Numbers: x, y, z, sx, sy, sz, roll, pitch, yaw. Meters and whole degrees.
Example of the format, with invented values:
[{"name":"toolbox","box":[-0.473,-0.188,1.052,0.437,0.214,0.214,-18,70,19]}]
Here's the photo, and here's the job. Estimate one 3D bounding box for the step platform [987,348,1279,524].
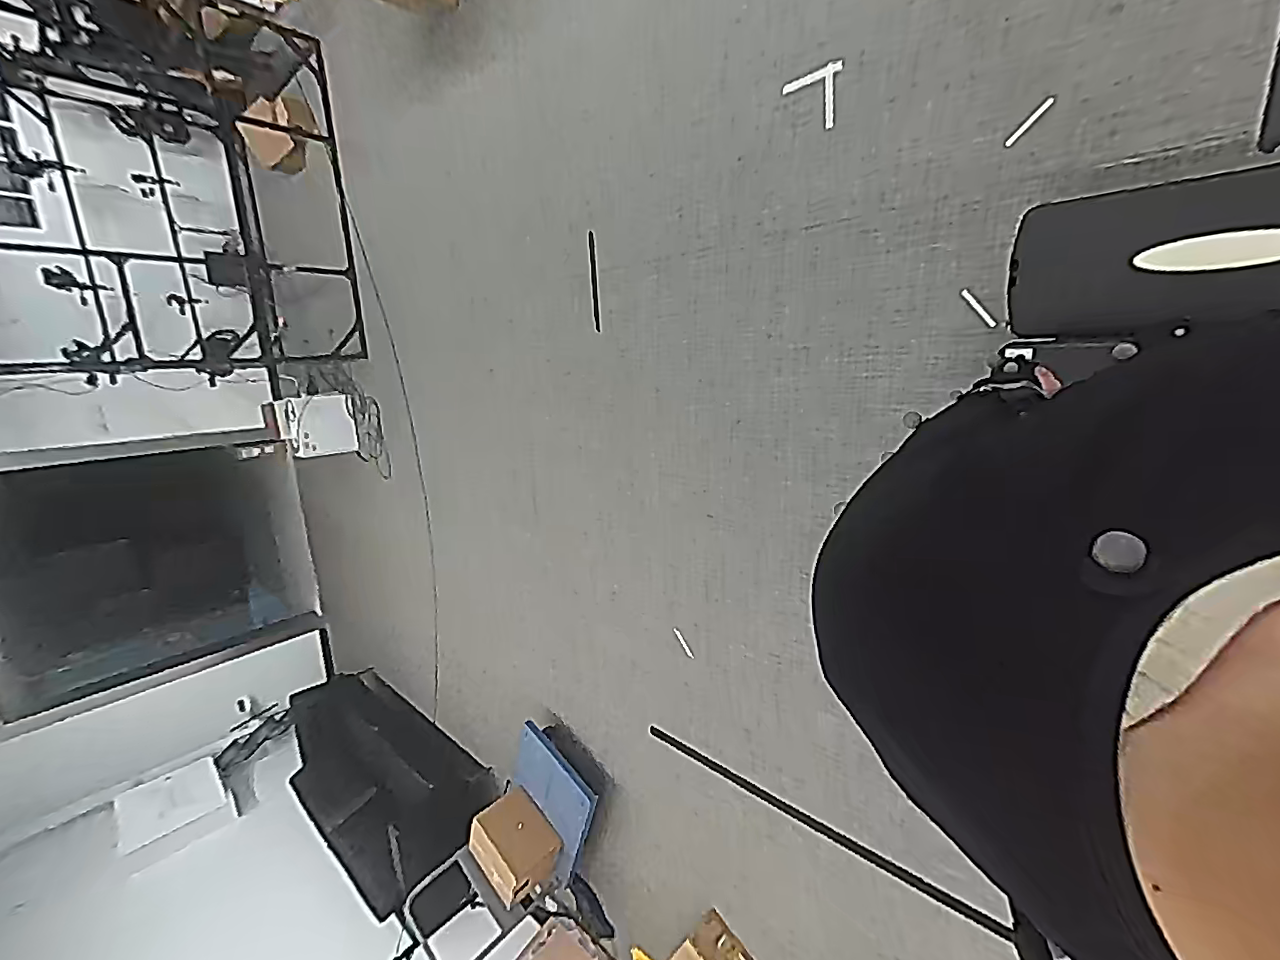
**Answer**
[{"name":"step platform","box":[1.079,-0.095,1.042,0.684,0.204,0.286,16,110,43]}]
